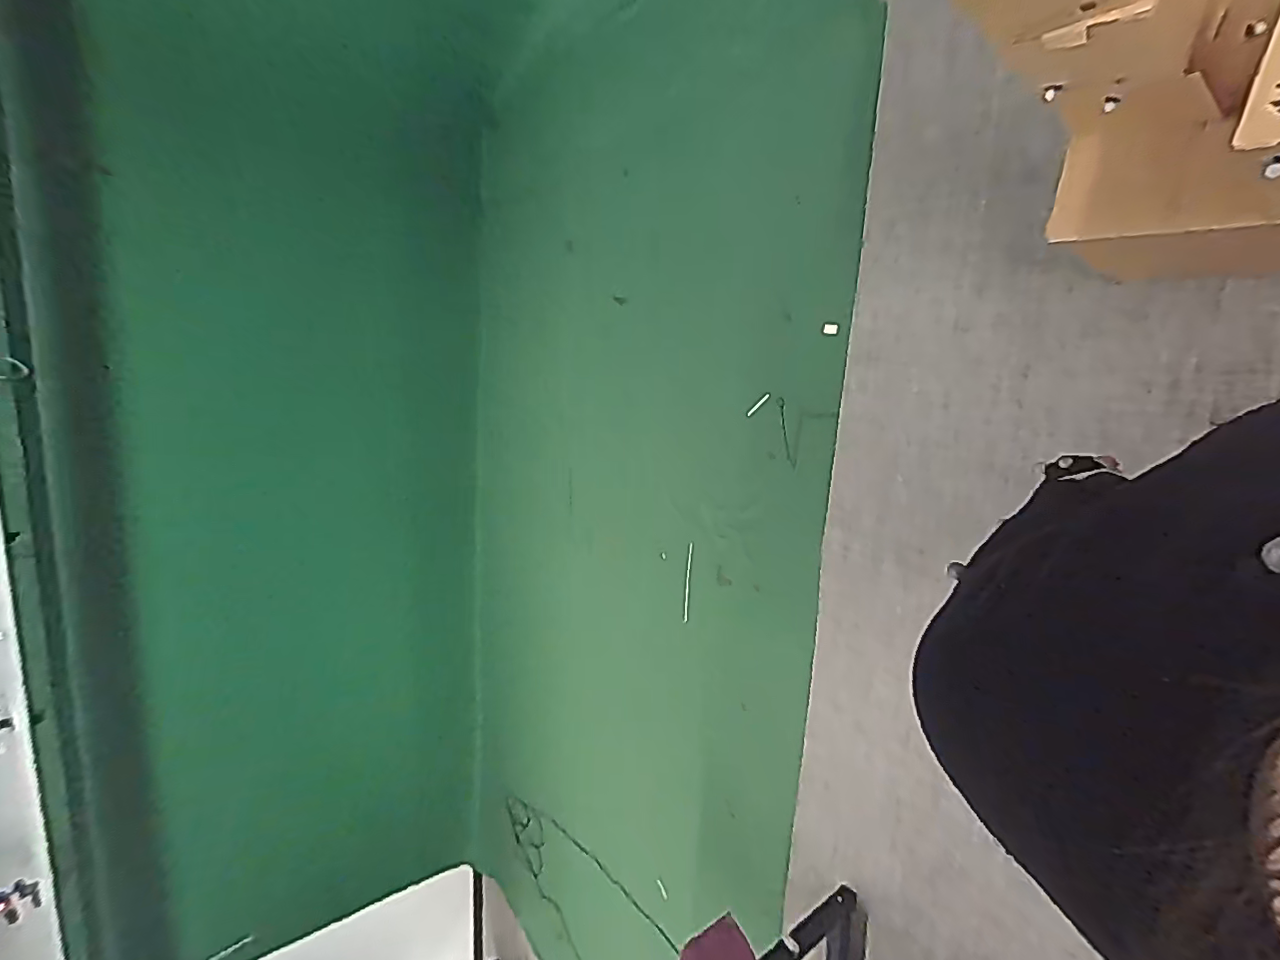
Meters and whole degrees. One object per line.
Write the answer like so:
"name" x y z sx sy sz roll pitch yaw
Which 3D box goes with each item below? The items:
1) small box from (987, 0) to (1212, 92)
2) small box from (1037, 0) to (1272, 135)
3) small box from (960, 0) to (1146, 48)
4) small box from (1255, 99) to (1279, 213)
"small box" 0.558 -0.587 0.635 0.168 0.176 0.179 33 117 47
"small box" 0.691 -0.591 0.731 0.179 0.176 0.168 30 116 47
"small box" 0.425 -0.588 0.537 0.168 0.176 0.179 24 110 50
"small box" 0.815 -0.398 0.580 0.168 0.176 0.179 19 107 51
